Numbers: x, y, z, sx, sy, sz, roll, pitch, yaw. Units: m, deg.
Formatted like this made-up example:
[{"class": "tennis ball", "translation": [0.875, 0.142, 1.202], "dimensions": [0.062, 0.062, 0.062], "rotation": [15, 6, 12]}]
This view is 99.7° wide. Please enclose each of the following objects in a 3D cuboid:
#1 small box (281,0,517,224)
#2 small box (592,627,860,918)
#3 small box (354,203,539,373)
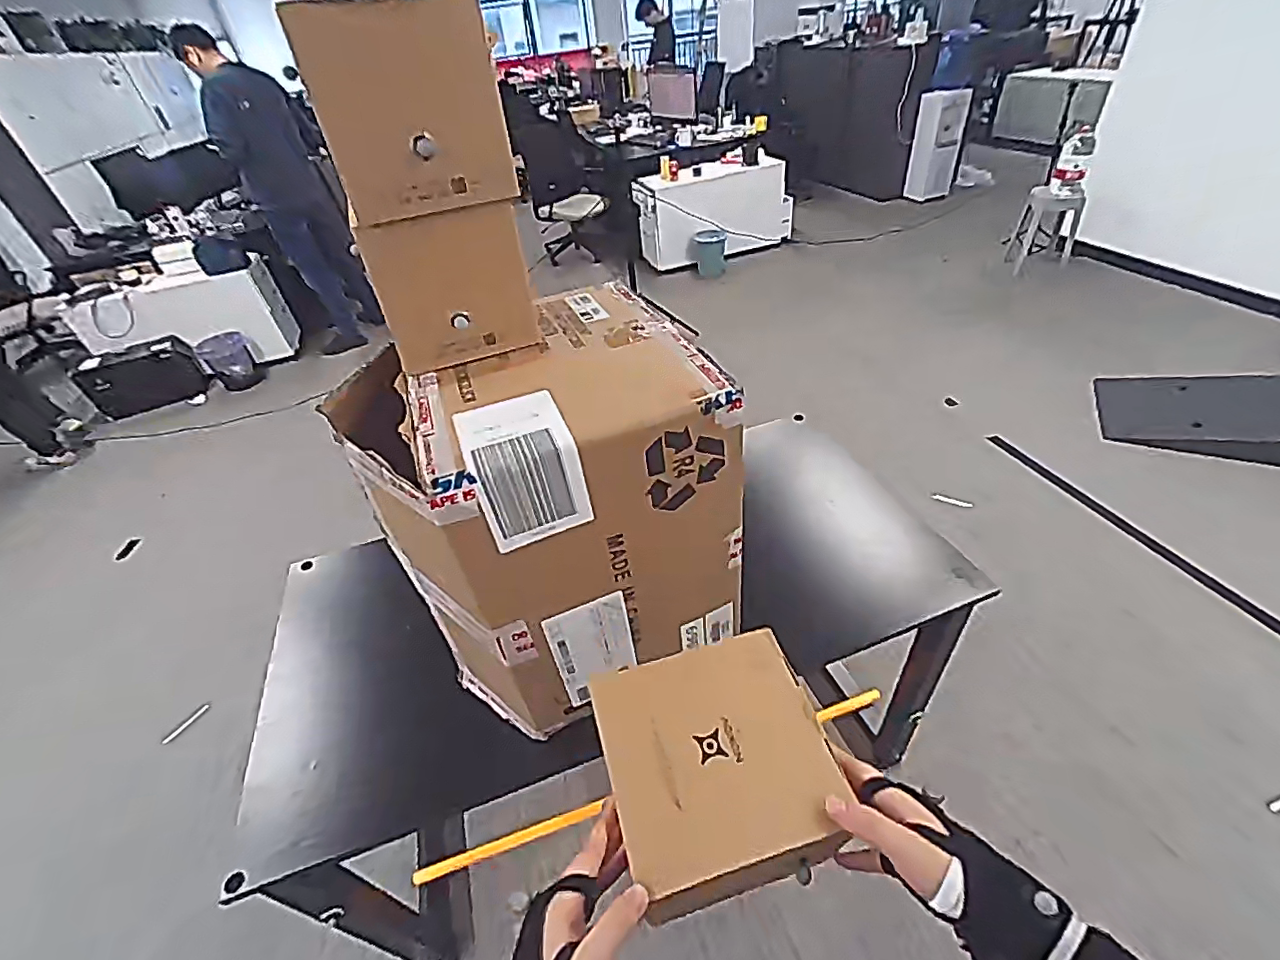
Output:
[{"class": "small box", "translation": [-0.245, -0.382, 0.571], "dimensions": [0.168, 0.176, 0.179], "rotation": [-21, 40, -17]}, {"class": "small box", "translation": [0.065, 0.268, 0.498], "dimensions": [0.179, 0.176, 0.168], "rotation": [-15, 46, -9]}, {"class": "small box", "translation": [-0.239, -0.255, 0.677], "dimensions": [0.168, 0.176, 0.179], "rotation": [-19, 40, -15]}]
